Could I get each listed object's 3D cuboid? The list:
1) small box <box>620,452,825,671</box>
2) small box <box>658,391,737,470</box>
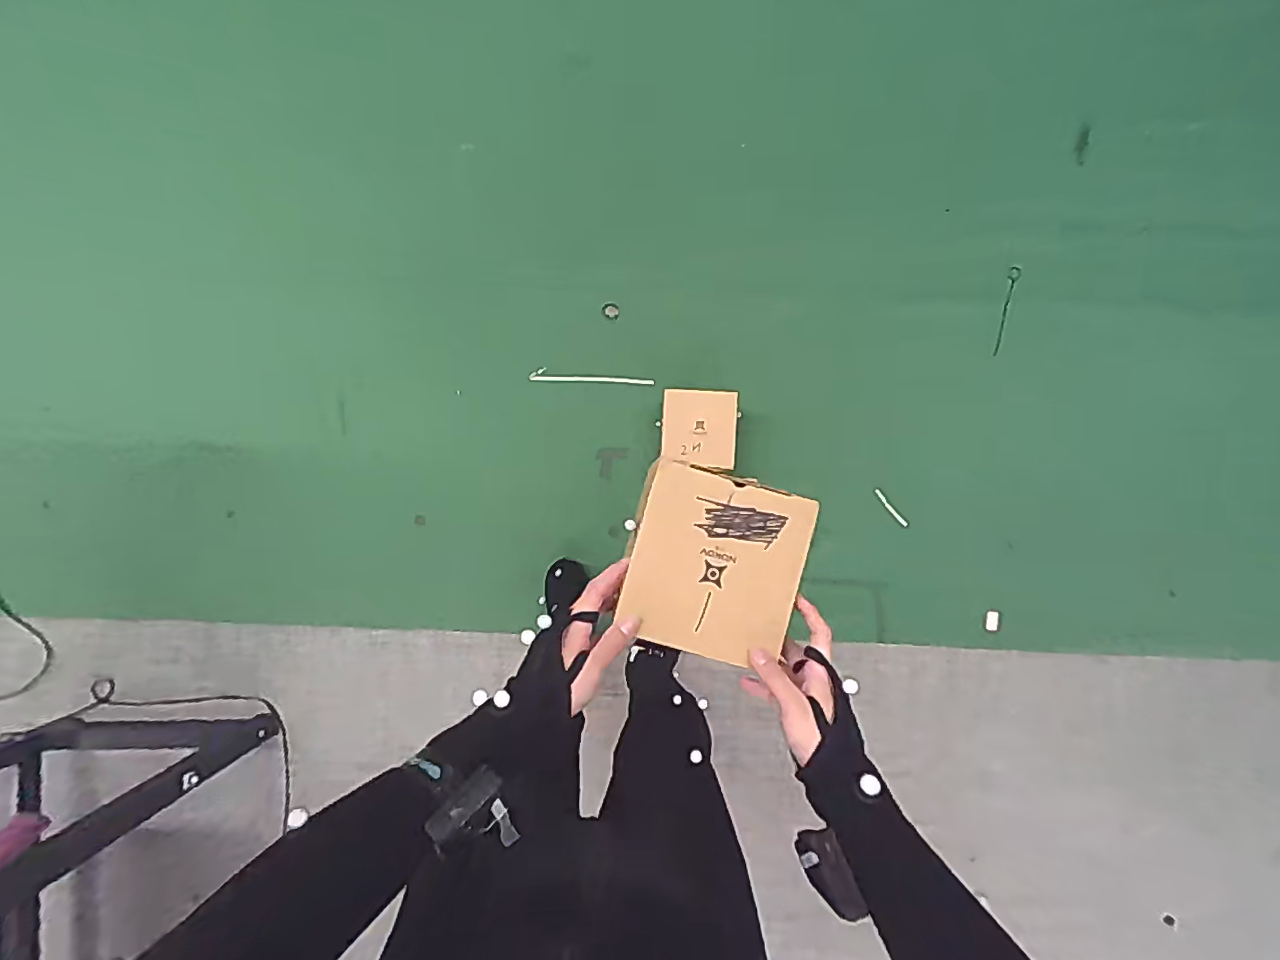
[{"bbox_3d":[0.077,0.082,0.602,0.168,0.176,0.179,17,87,-2],"label":"small box"},{"bbox_3d":[0.132,-0.106,1.291,0.168,0.176,0.179,4,89,1],"label":"small box"}]
